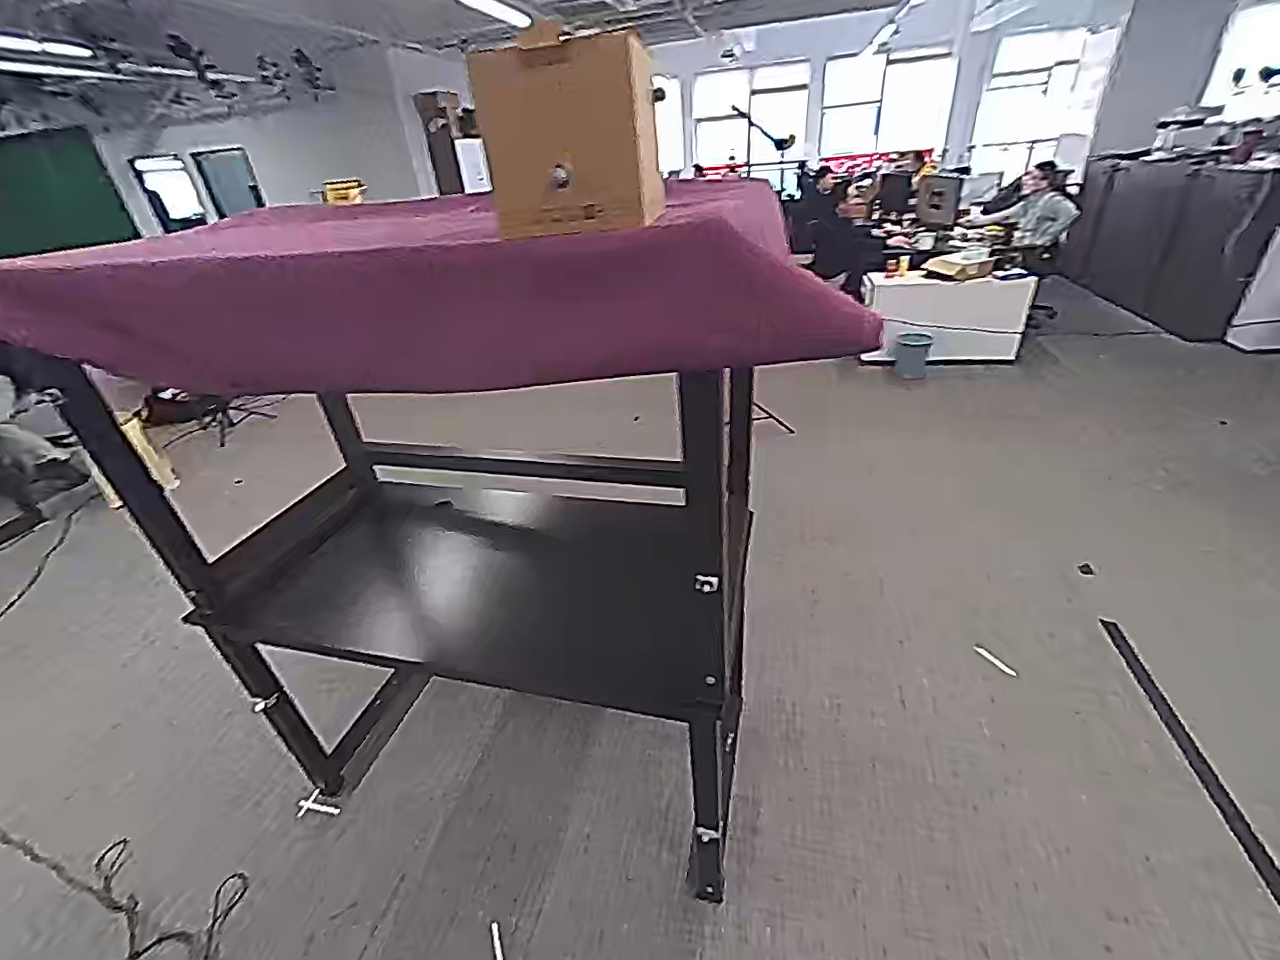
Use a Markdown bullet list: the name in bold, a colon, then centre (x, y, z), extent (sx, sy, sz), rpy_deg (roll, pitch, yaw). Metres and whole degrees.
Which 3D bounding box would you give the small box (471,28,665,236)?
- **small box**: centre (-0.065, -0.379, 0.613), extent (0.168, 0.176, 0.179), rpy_deg (-1, 30, 10)
